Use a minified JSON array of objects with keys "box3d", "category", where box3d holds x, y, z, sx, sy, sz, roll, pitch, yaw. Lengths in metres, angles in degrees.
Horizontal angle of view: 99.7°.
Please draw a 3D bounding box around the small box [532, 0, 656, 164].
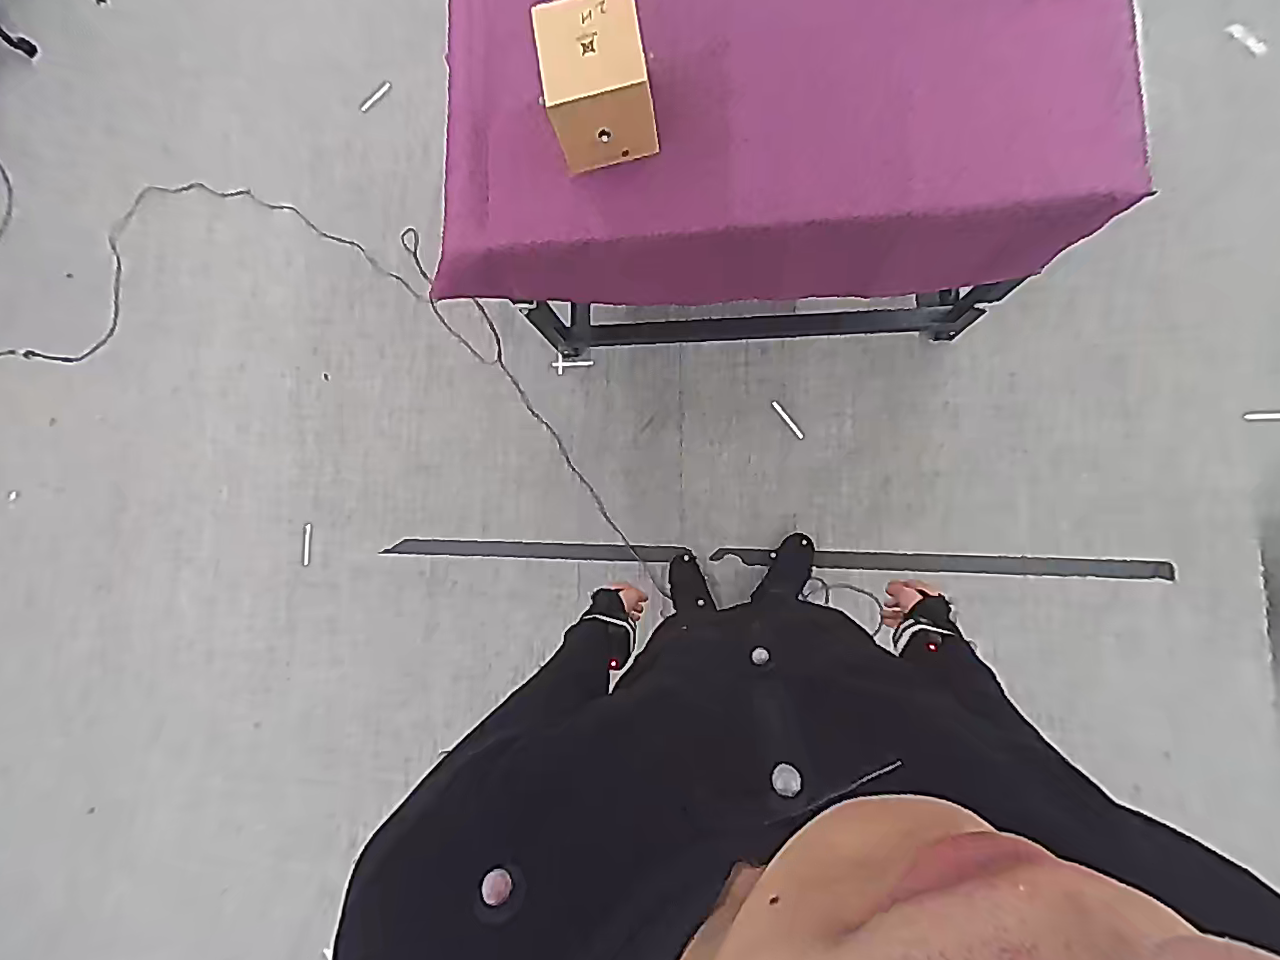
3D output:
[{"box3d":[-0.070,-0.674,0.923,0.168,0.176,0.179,-9,84,7],"category":"small box"}]
